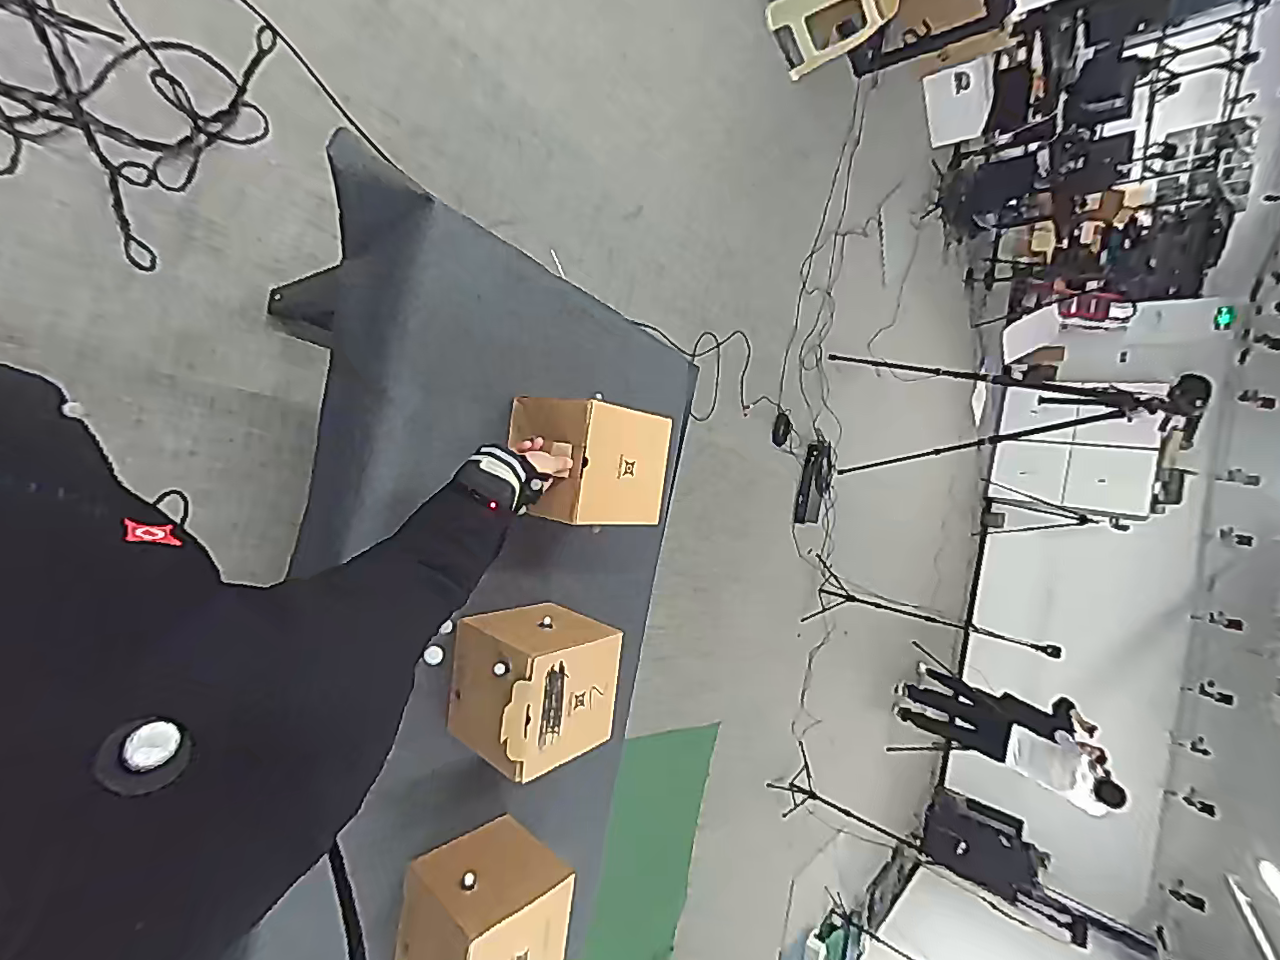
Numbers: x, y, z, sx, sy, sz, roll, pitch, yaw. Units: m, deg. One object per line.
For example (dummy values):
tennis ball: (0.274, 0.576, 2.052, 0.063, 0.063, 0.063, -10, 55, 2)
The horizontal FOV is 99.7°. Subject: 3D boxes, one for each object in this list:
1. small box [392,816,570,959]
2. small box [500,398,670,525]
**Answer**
small box: (-0.227, 0.628, 0.769, 0.179, 0.176, 0.168, 5, 94, -52)
small box: (-0.081, -0.028, 0.812, 0.179, 0.176, 0.168, 5, 94, -50)
